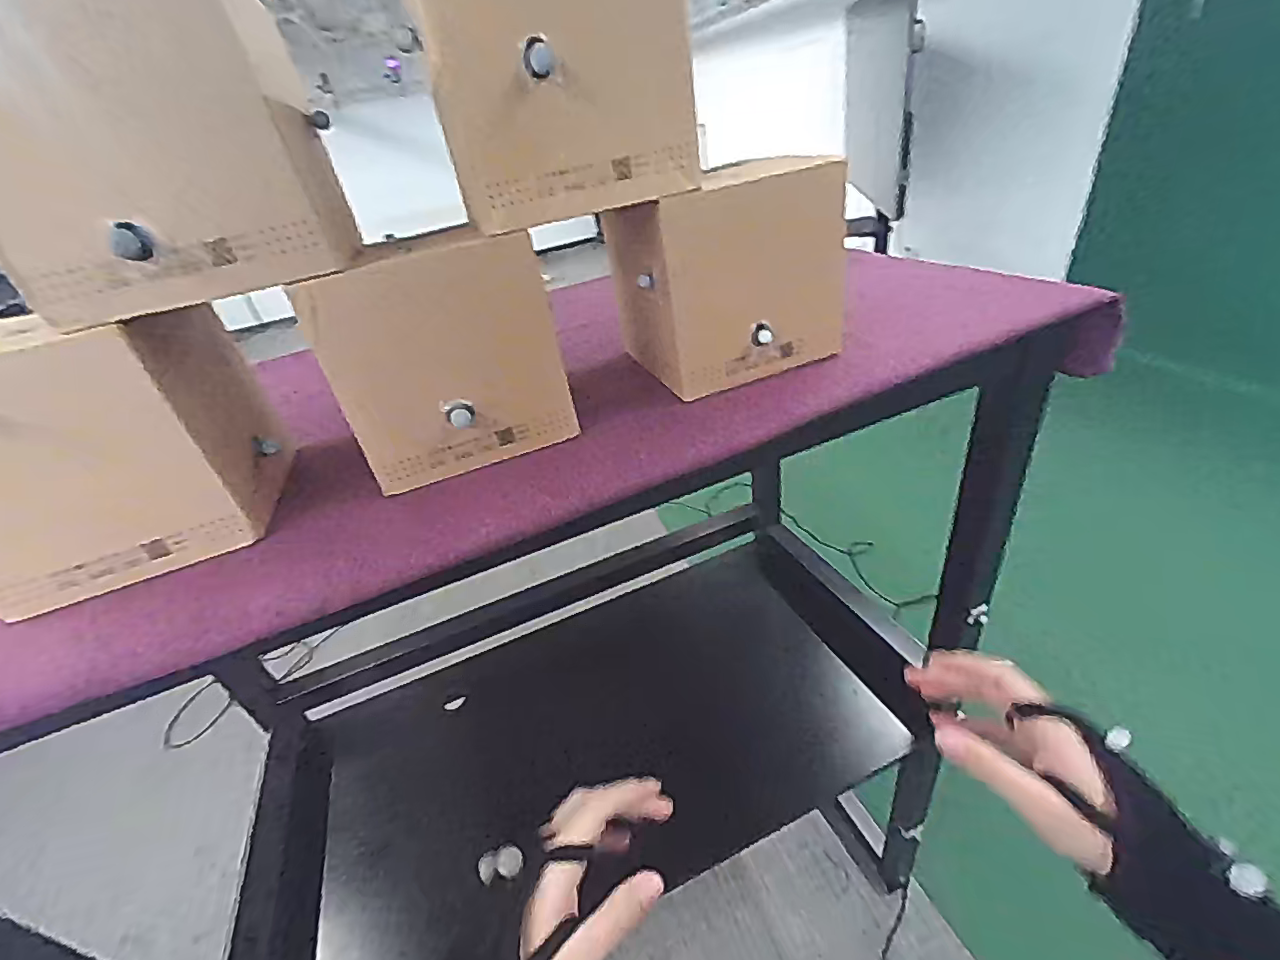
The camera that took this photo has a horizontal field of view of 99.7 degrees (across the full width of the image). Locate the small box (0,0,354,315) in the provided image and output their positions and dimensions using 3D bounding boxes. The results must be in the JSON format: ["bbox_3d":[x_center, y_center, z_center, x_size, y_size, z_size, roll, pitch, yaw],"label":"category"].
[{"bbox_3d":[-0.312,-0.220,0.355,0.168,0.176,0.179,-19,34,-11],"label":"small box"}]

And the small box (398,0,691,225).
[{"bbox_3d":[-0.072,-0.300,0.411,0.168,0.176,0.179,-19,33,-12],"label":"small box"}]

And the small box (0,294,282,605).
[{"bbox_3d":[-0.405,-0.040,0.408,0.168,0.176,0.179,-20,33,-14],"label":"small box"}]

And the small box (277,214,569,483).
[{"bbox_3d":[-0.173,-0.123,0.469,0.168,0.176,0.179,-19,34,-13],"label":"small box"}]
